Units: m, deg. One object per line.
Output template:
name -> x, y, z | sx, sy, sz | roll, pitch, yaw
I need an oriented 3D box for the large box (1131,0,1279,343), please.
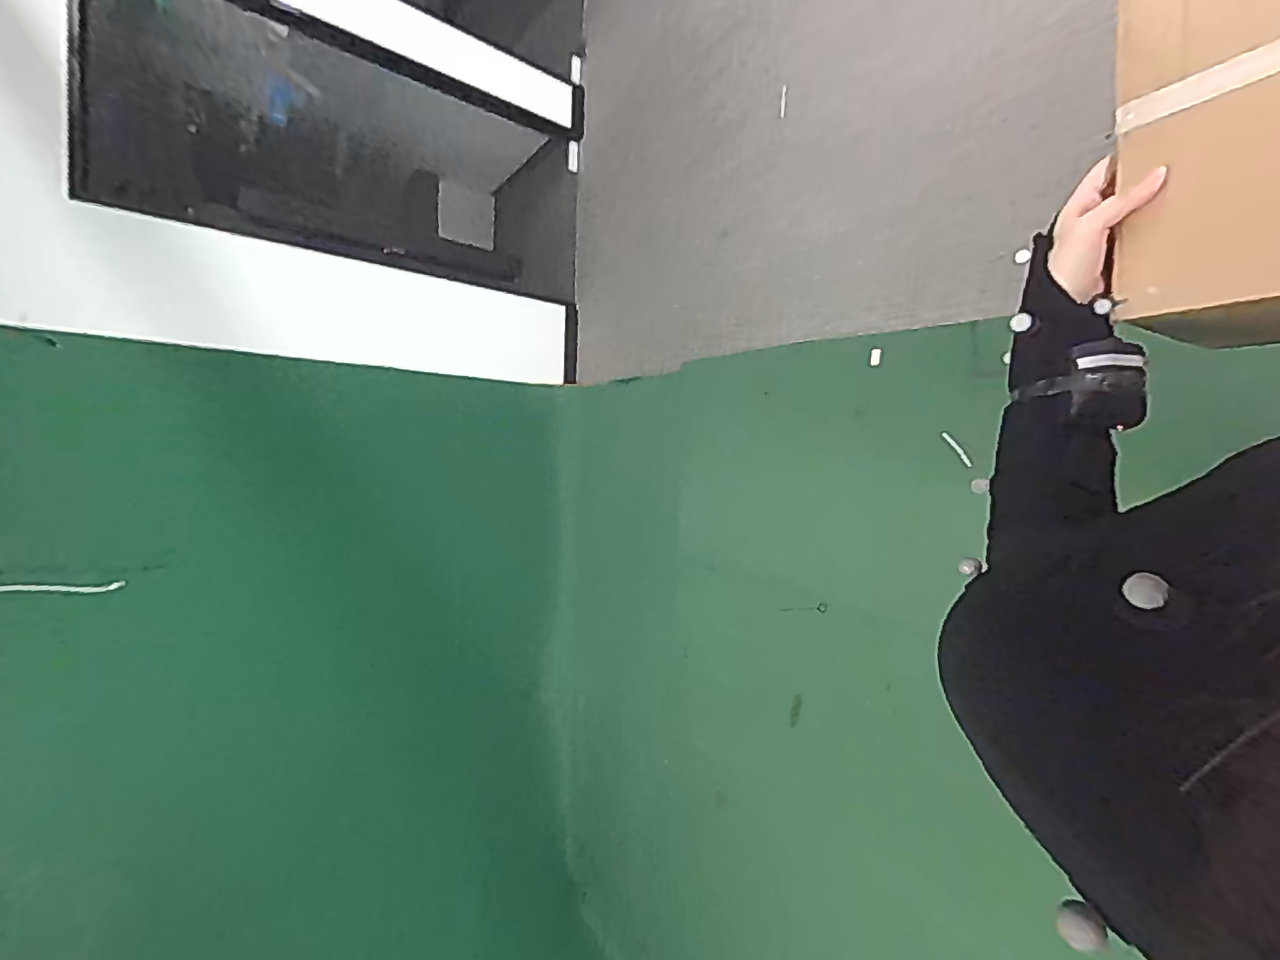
large box -> 0.638, -0.285, 0.351 | 0.408, 0.320, 0.320 | 5, 97, 58
